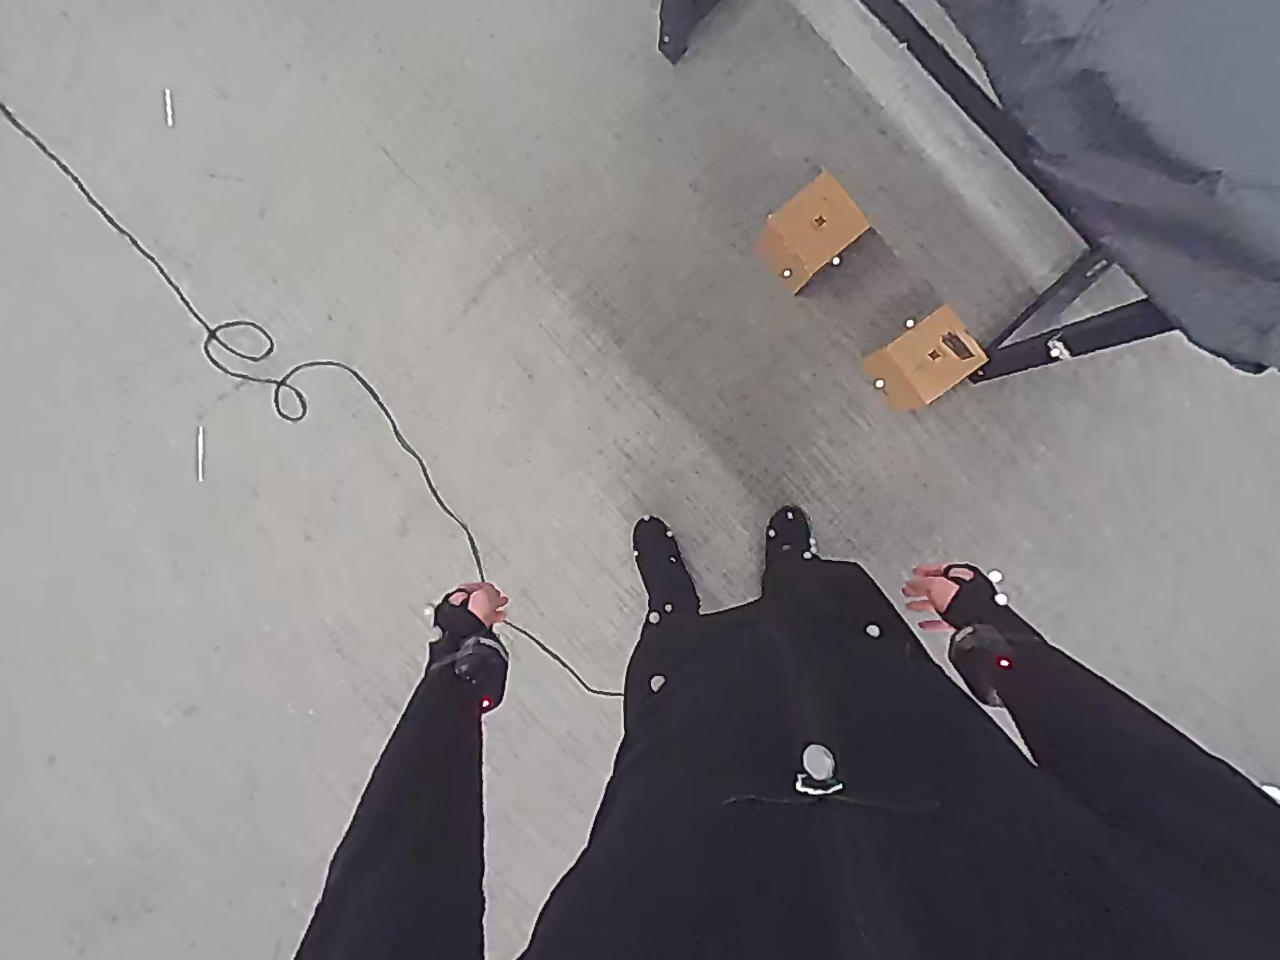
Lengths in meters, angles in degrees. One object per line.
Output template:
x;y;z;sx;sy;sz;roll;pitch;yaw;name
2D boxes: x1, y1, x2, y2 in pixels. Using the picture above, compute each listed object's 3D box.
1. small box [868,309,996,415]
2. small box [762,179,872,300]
0.690;-0.276;1.301;0.179;0.176;0.168;-37;89;3;small box
0.416;-0.570;1.311;0.179;0.176;0.168;-41;91;0;small box
